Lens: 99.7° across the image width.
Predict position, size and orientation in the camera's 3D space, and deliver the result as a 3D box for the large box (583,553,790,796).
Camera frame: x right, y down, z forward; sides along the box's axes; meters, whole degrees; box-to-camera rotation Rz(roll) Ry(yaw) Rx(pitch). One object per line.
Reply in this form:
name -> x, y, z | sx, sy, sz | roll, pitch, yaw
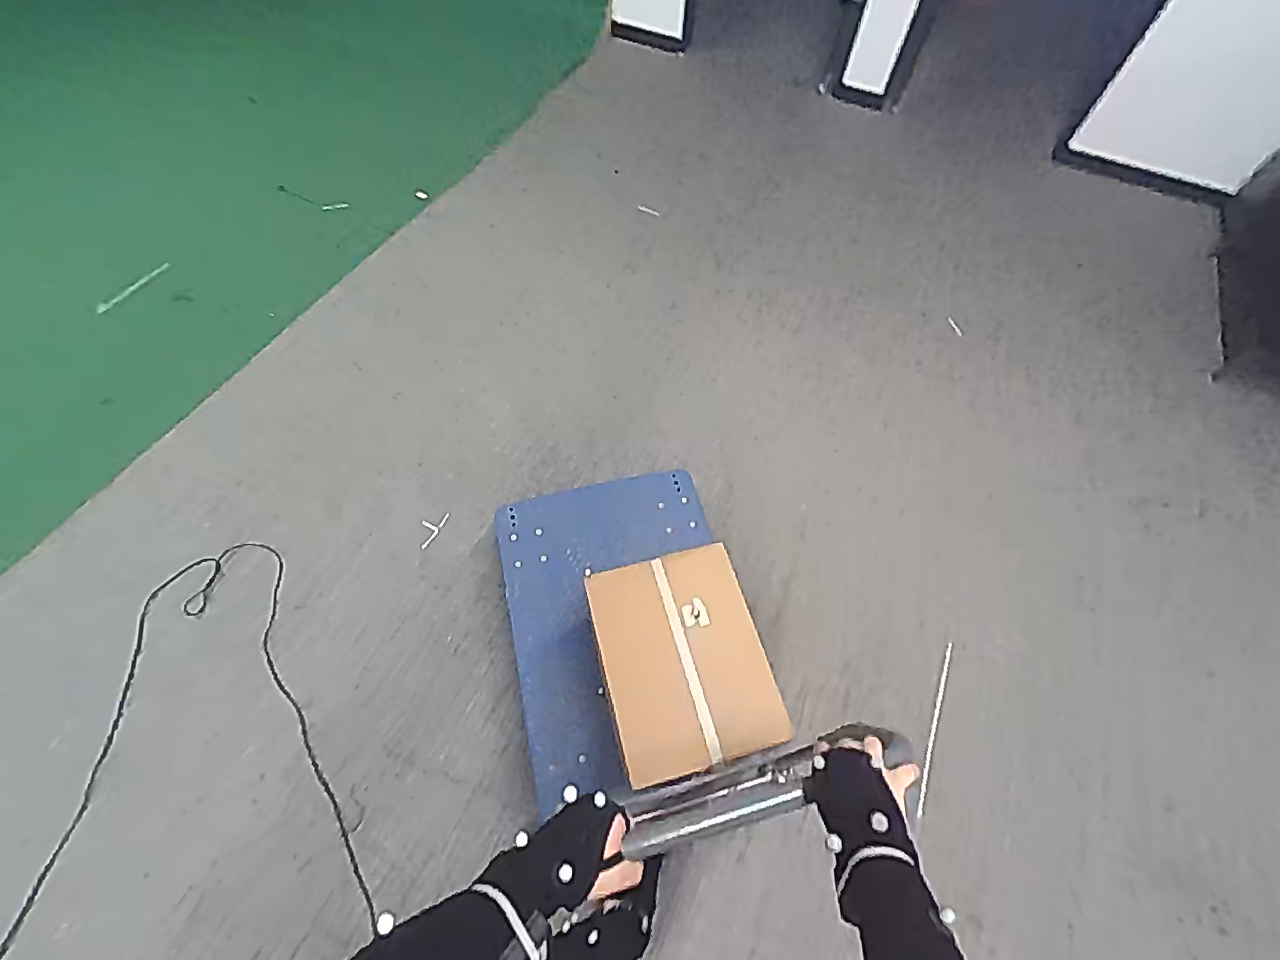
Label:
large box -> 0.077, 0.434, 1.201 | 0.320, 0.320, 0.408 | -12, 60, -10
